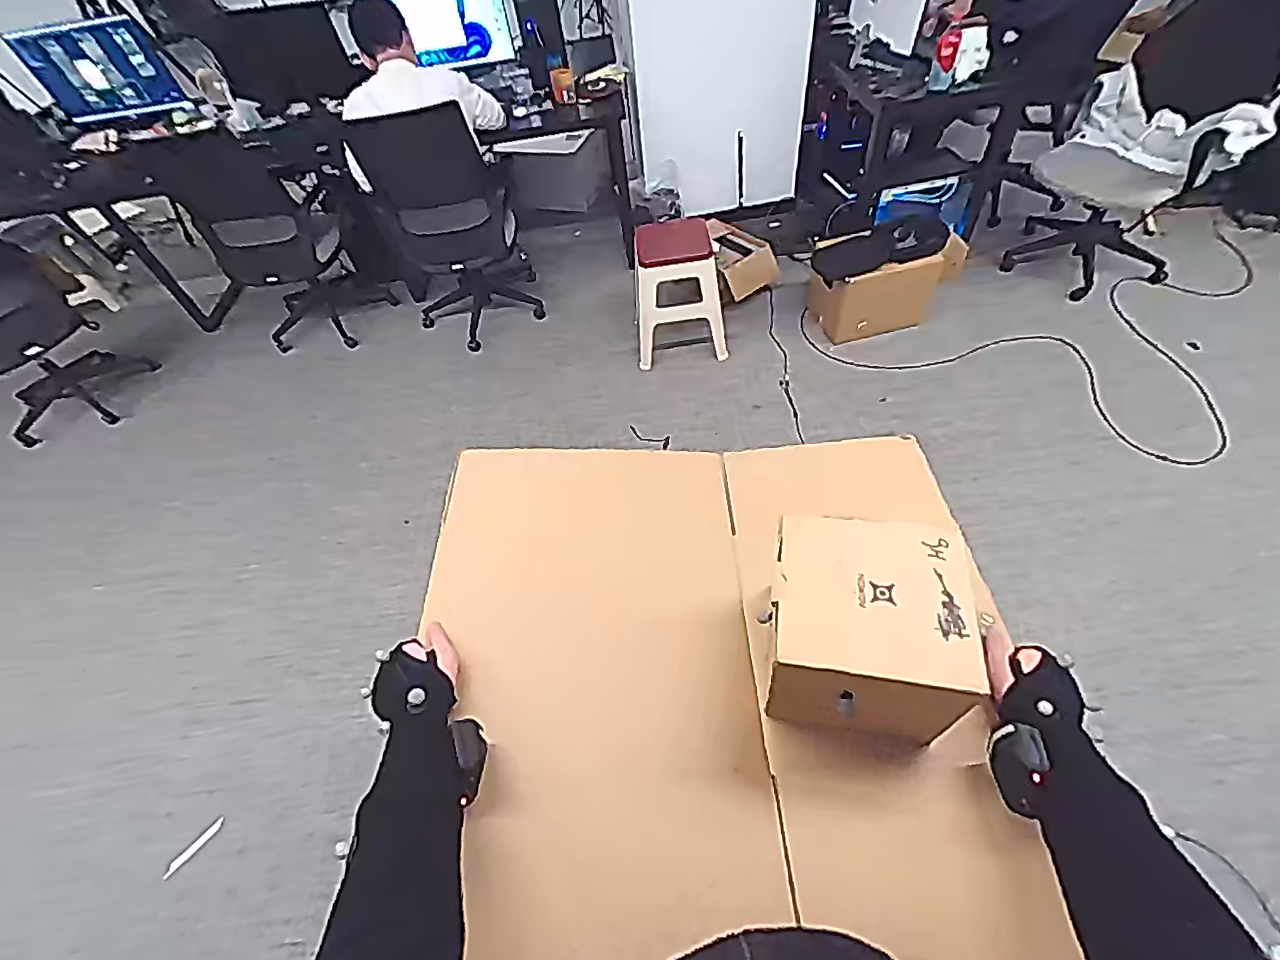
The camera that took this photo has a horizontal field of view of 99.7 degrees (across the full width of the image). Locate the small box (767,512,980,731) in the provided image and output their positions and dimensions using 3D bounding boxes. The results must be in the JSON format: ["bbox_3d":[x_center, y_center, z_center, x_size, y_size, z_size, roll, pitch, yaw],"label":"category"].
[{"bbox_3d":[0.231,0.153,0.581,0.179,0.176,0.168,4,53,14],"label":"small box"}]
